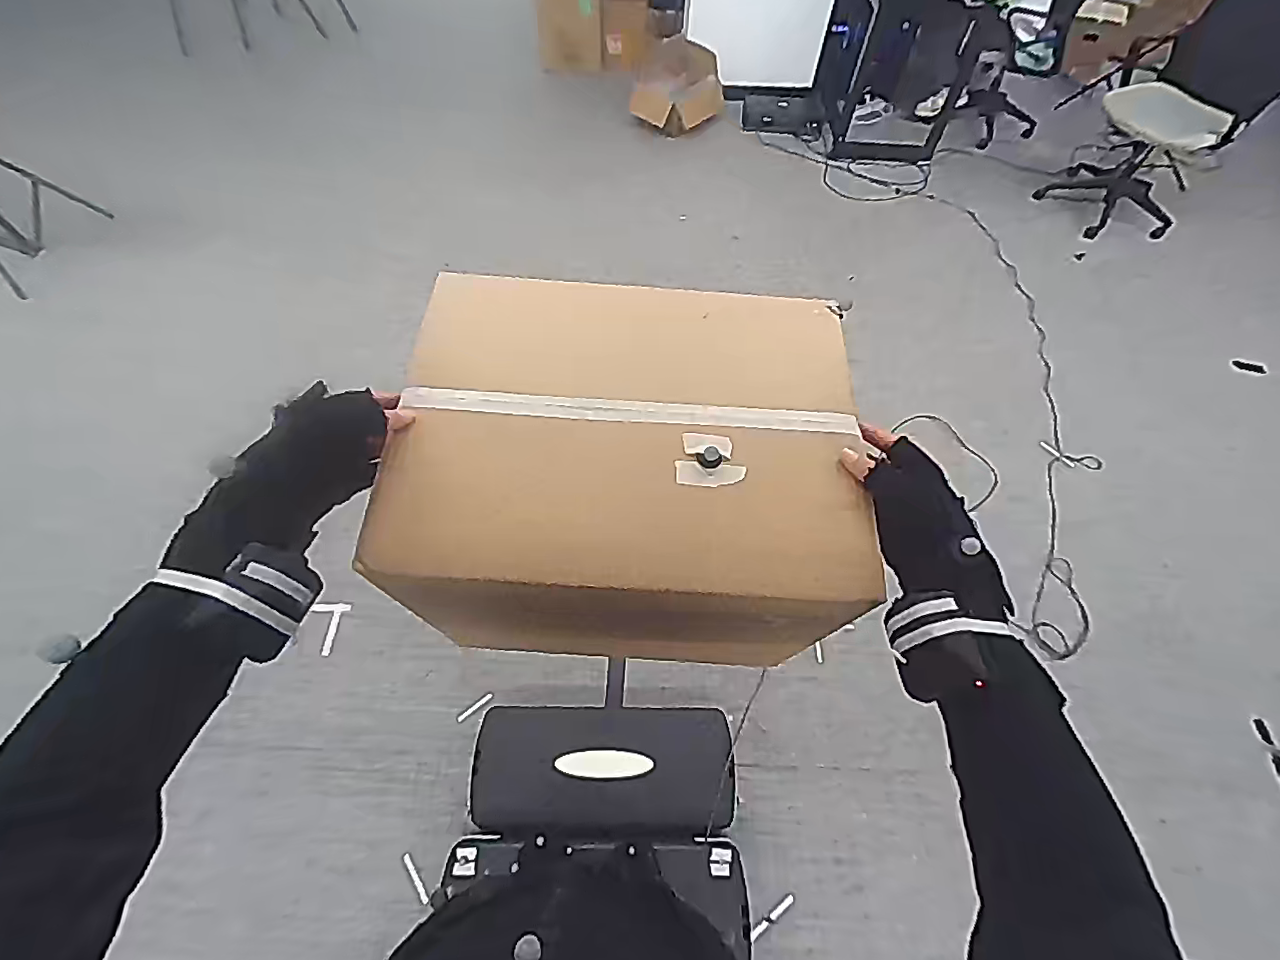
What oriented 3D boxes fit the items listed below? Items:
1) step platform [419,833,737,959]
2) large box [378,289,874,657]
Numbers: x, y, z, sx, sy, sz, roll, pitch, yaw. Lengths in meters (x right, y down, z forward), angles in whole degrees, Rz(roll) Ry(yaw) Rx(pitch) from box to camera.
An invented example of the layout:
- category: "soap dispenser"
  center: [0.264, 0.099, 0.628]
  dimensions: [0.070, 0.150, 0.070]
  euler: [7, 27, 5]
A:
- category: "step platform"
  center: [-0.127, 0.968, 1.217]
  dimensions: [0.684, 0.204, 0.286]
  euler: [0, 58, 0]
- category: "large box"
  center: [-0.014, 0.016, 0.625]
  dimensions: [0.408, 0.320, 0.320]
  euler: [4, 63, -2]
